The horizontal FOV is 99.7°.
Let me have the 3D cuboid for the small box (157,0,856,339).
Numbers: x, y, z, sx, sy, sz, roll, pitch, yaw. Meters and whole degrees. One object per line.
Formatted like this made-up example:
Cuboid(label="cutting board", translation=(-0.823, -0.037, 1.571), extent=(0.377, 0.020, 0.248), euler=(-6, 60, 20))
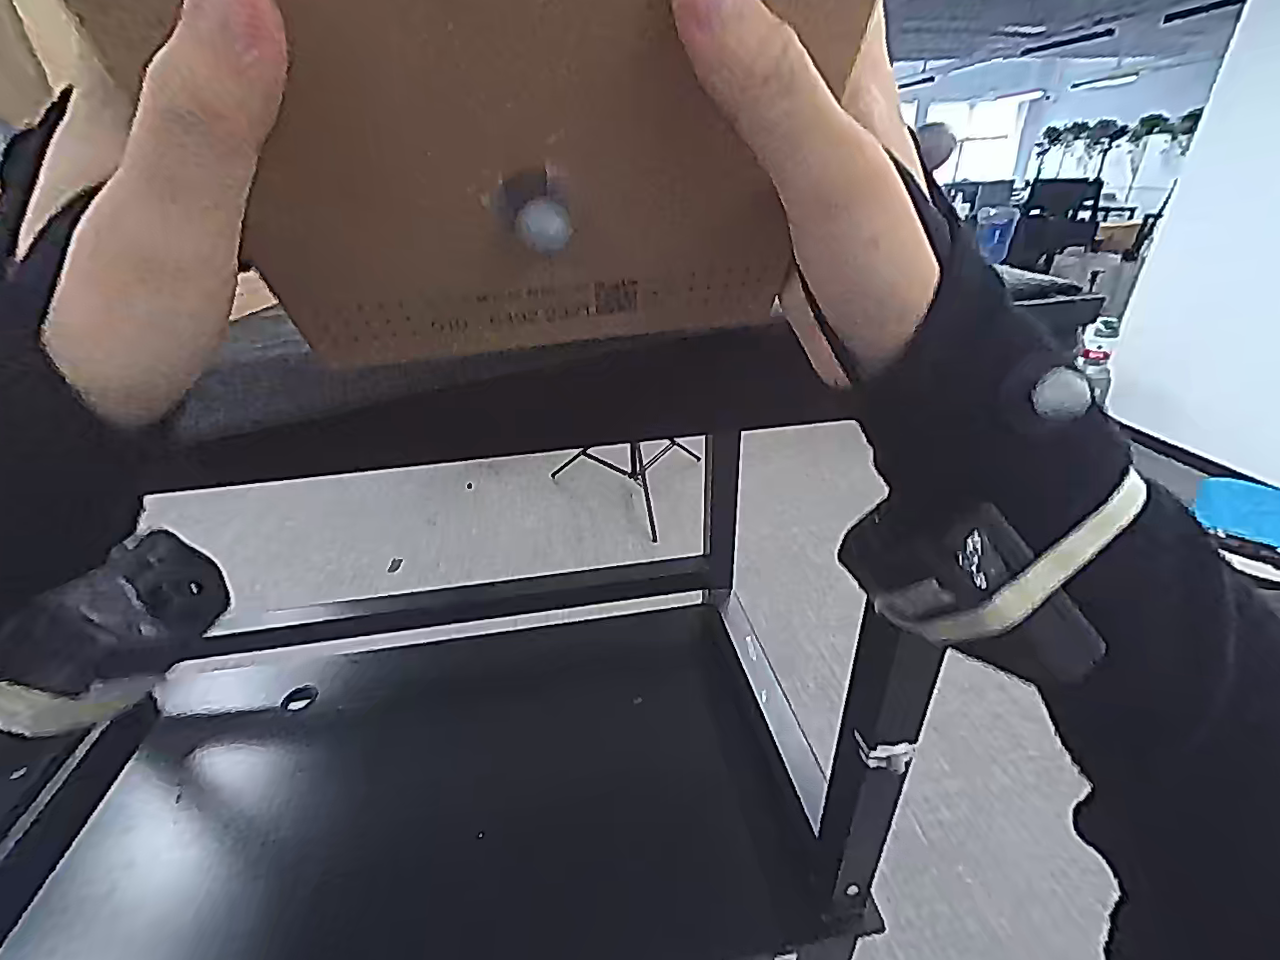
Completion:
Cuboid(label="small box", translation=(-0.042, -0.172, 0.171), extent=(0.168, 0.176, 0.179), euler=(-9, 62, -7))
